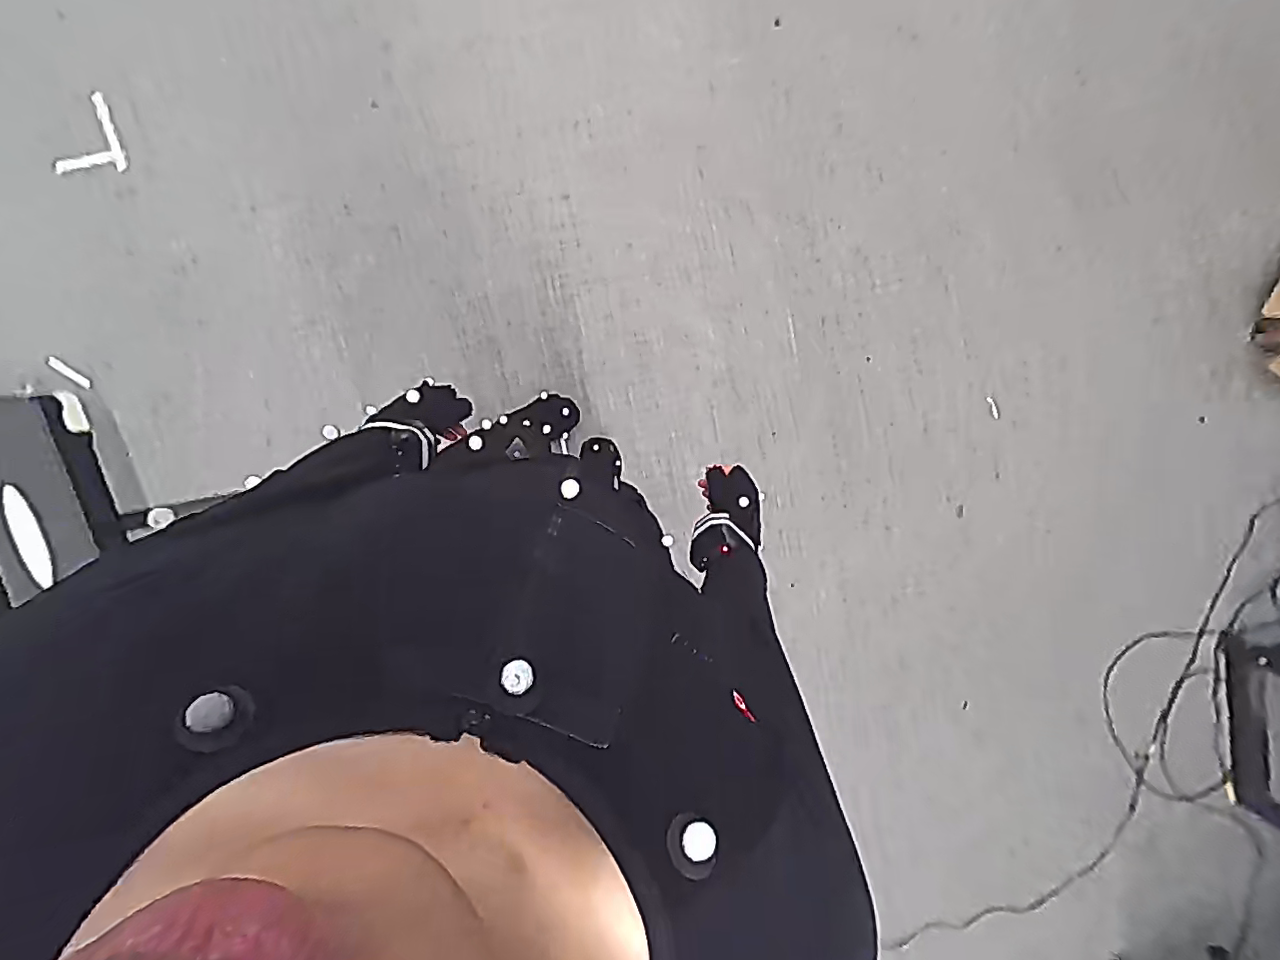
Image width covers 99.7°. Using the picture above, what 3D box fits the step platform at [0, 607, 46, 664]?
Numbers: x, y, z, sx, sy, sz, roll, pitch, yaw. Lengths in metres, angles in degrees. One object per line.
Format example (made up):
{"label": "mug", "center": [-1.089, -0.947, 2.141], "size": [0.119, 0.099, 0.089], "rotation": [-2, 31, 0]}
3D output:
{"label": "step platform", "center": [-1.745, 0.156, 1.273], "size": [0.286, 0.204, 0.684], "rotation": [-13, 97, -3]}
